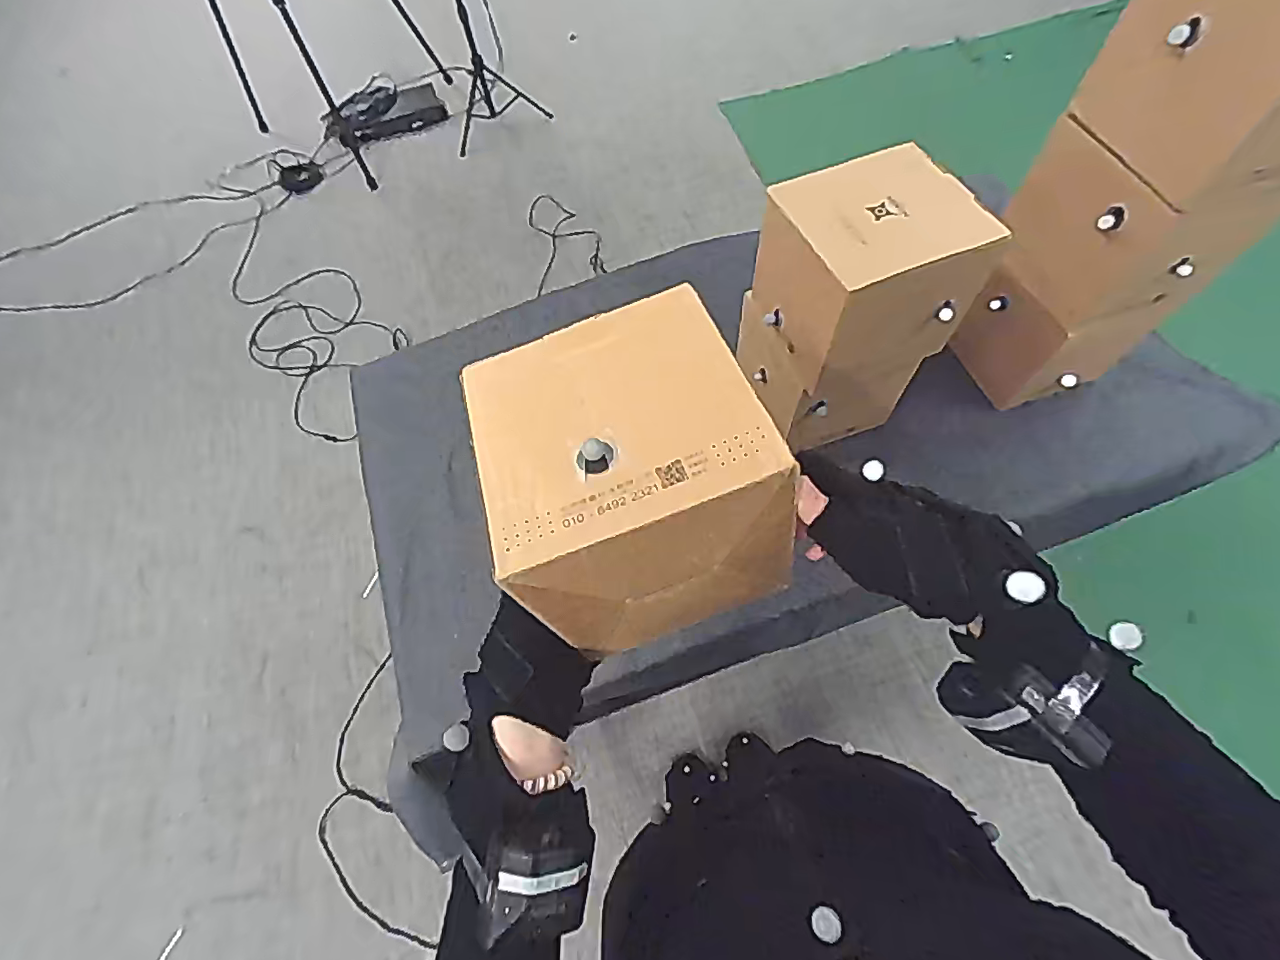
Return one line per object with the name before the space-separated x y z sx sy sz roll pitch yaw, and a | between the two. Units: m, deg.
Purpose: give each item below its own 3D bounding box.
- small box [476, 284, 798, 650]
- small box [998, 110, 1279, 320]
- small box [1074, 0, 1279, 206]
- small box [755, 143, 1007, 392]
small box | 0.002 0.003 0.389 0.168 0.179 0.176 -21 55 1
small box | 0.558 -0.307 0.619 0.168 0.176 0.179 -16 63 -3
small box | 0.544 -0.379 0.472 0.168 0.176 0.179 -15 63 -2
small box | 0.247 -0.230 0.608 0.179 0.176 0.168 -21 63 -5
